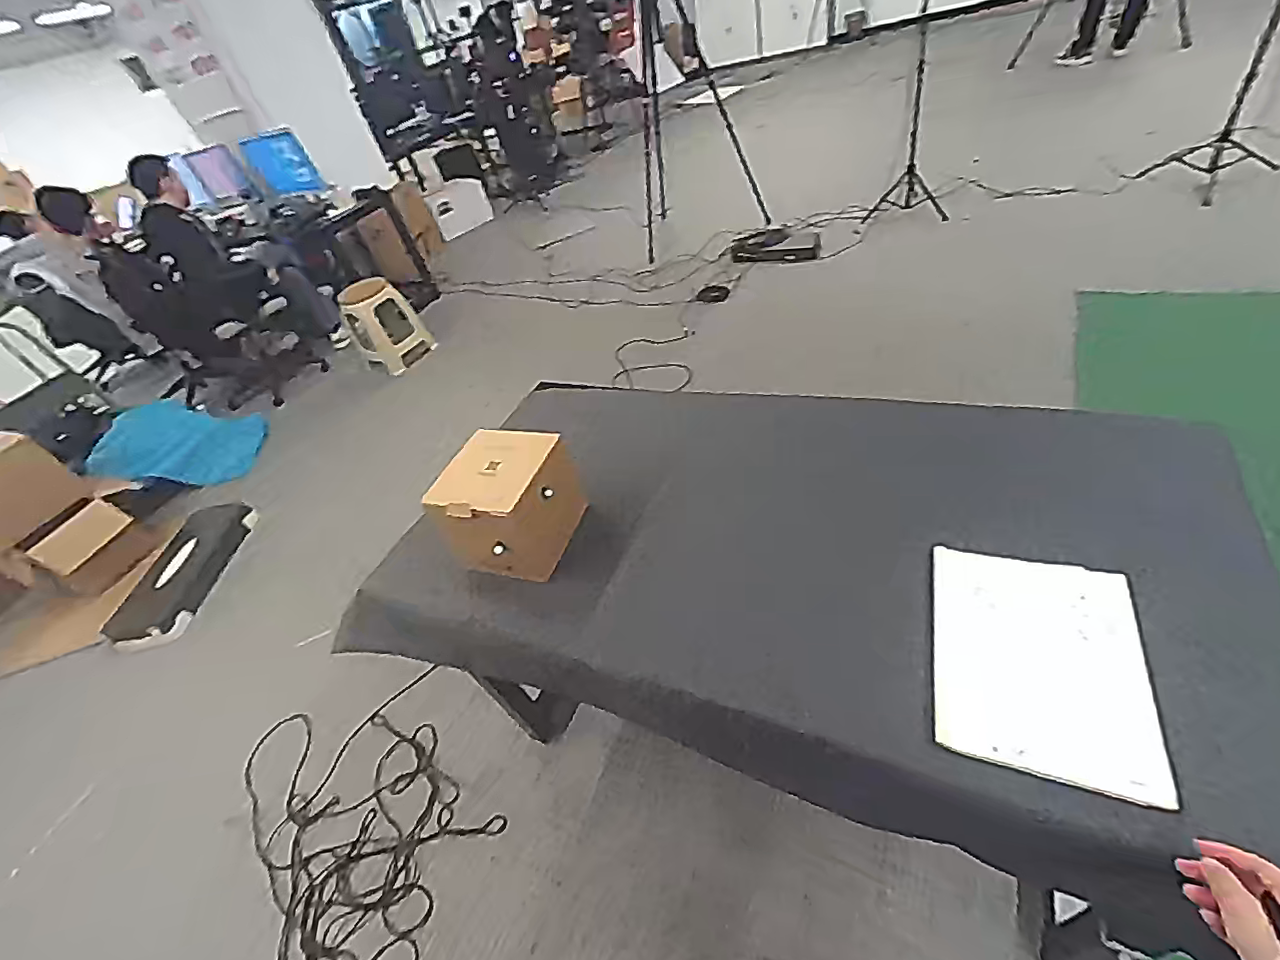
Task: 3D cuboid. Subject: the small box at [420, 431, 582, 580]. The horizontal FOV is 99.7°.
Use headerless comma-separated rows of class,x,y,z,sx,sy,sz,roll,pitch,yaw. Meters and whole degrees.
small box,-0.213,0.041,0.887,0.168,0.176,0.179,5,46,22
